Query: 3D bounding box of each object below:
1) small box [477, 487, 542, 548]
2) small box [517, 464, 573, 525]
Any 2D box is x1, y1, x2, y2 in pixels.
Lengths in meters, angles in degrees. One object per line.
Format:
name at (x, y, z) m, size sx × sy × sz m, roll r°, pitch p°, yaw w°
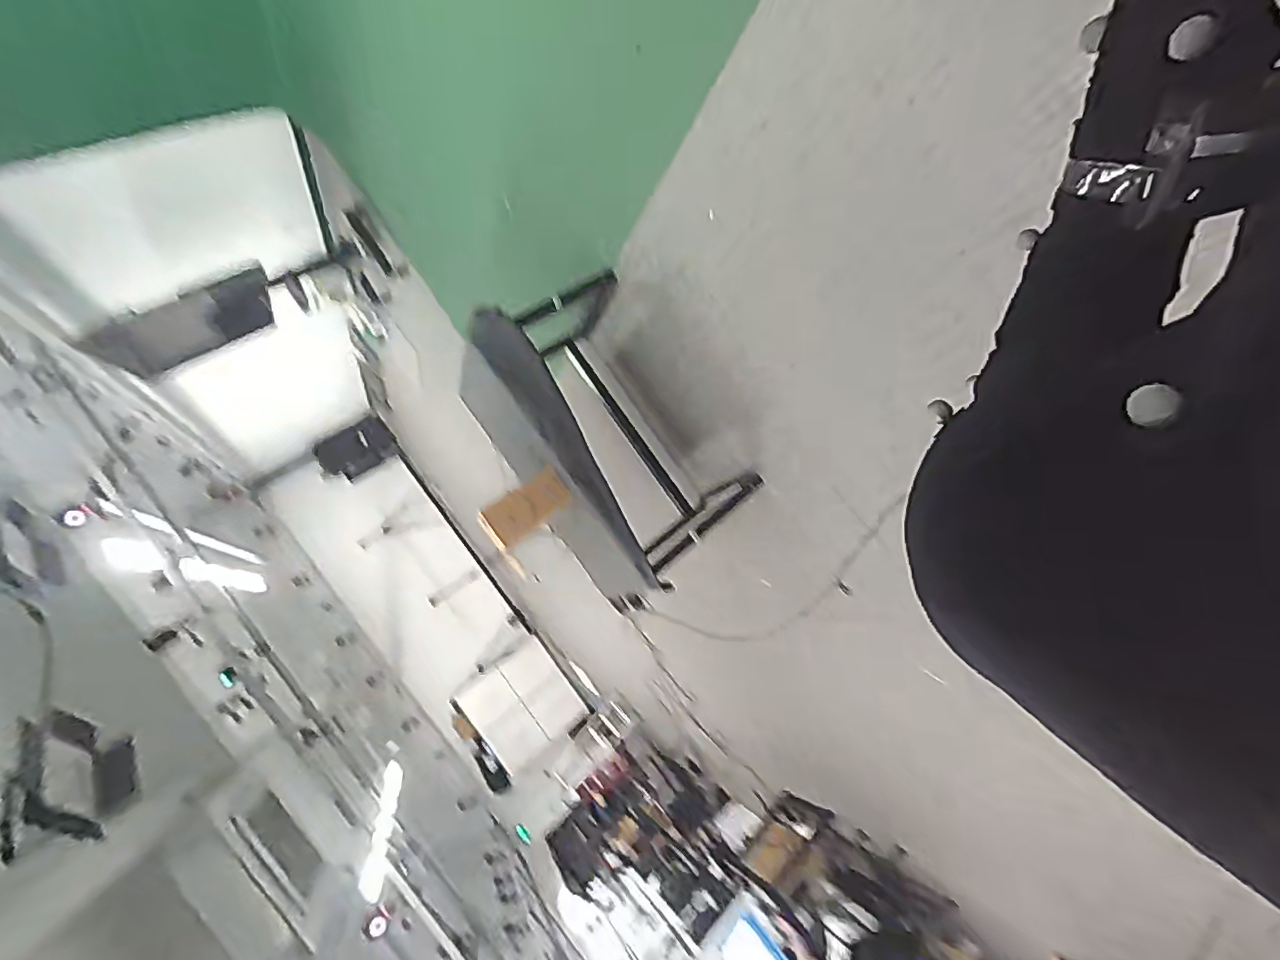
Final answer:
small box at (-0.516, 0.144, 2.129) m, size 0.179 × 0.176 × 0.168 m, roll 53°, pitch 156°, yaw -2°
small box at (-0.394, 0.059, 2.201) m, size 0.168 × 0.176 × 0.179 m, roll 53°, pitch 155°, yaw -1°
